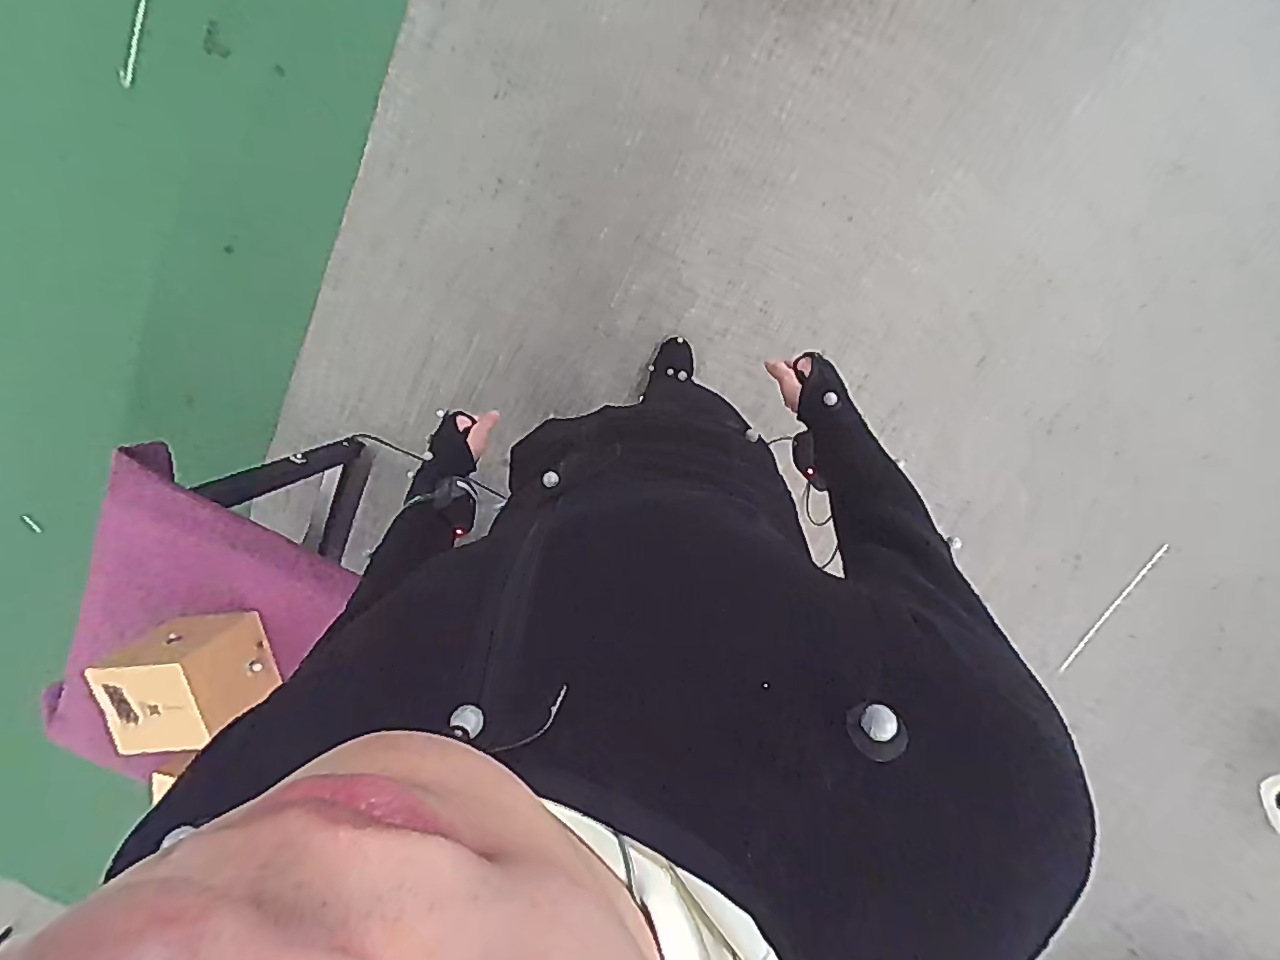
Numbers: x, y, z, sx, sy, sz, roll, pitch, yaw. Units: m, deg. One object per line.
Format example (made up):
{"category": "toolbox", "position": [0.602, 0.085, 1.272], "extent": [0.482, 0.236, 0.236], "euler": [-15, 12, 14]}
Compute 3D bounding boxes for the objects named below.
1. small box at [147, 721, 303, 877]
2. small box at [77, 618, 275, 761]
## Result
{"category": "small box", "position": [-0.761, 0.582, 1.007], "extent": [0.168, 0.176, 0.179], "euler": [12, 106, 0]}
{"category": "small box", "position": [-0.795, 0.359, 0.947], "extent": [0.179, 0.176, 0.168], "euler": [-6, 105, 5]}
